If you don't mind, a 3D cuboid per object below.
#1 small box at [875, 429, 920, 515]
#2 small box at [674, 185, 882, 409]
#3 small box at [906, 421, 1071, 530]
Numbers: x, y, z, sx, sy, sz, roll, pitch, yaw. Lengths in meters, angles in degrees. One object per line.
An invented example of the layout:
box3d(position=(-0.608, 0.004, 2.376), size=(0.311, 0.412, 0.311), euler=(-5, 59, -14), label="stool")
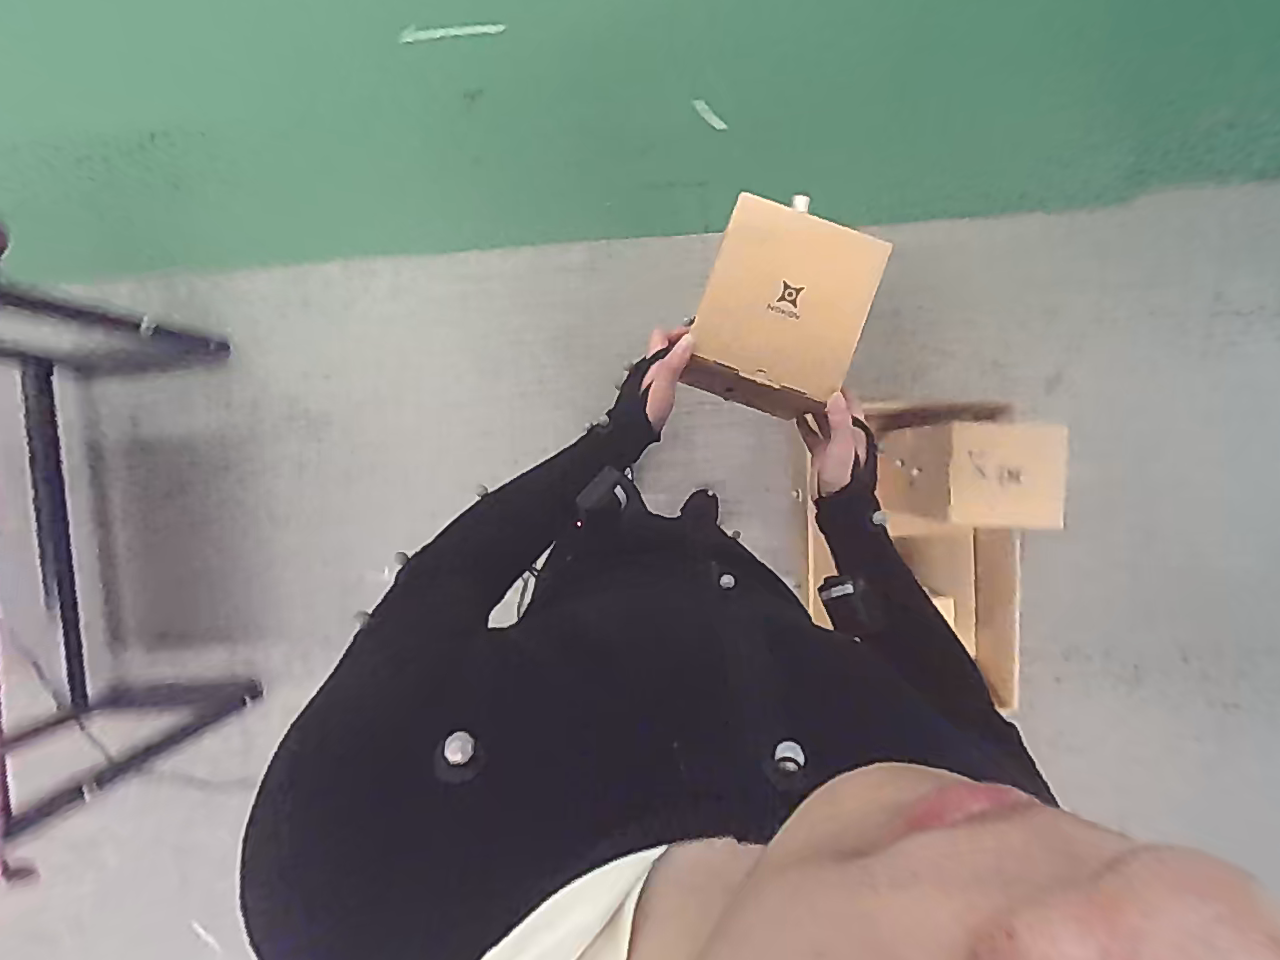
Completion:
box3d(position=(0.597, -0.017, 1.092), size=(0.179, 0.176, 0.168), euler=(1, 92, 4), label="small box")
box3d(position=(0.142, -0.194, 0.627), size=(0.168, 0.176, 0.179), euler=(18, 93, -1), label="small box")
box3d(position=(0.586, -0.010, 0.928), size=(0.179, 0.176, 0.168), euler=(3, 92, 4), label="small box")
